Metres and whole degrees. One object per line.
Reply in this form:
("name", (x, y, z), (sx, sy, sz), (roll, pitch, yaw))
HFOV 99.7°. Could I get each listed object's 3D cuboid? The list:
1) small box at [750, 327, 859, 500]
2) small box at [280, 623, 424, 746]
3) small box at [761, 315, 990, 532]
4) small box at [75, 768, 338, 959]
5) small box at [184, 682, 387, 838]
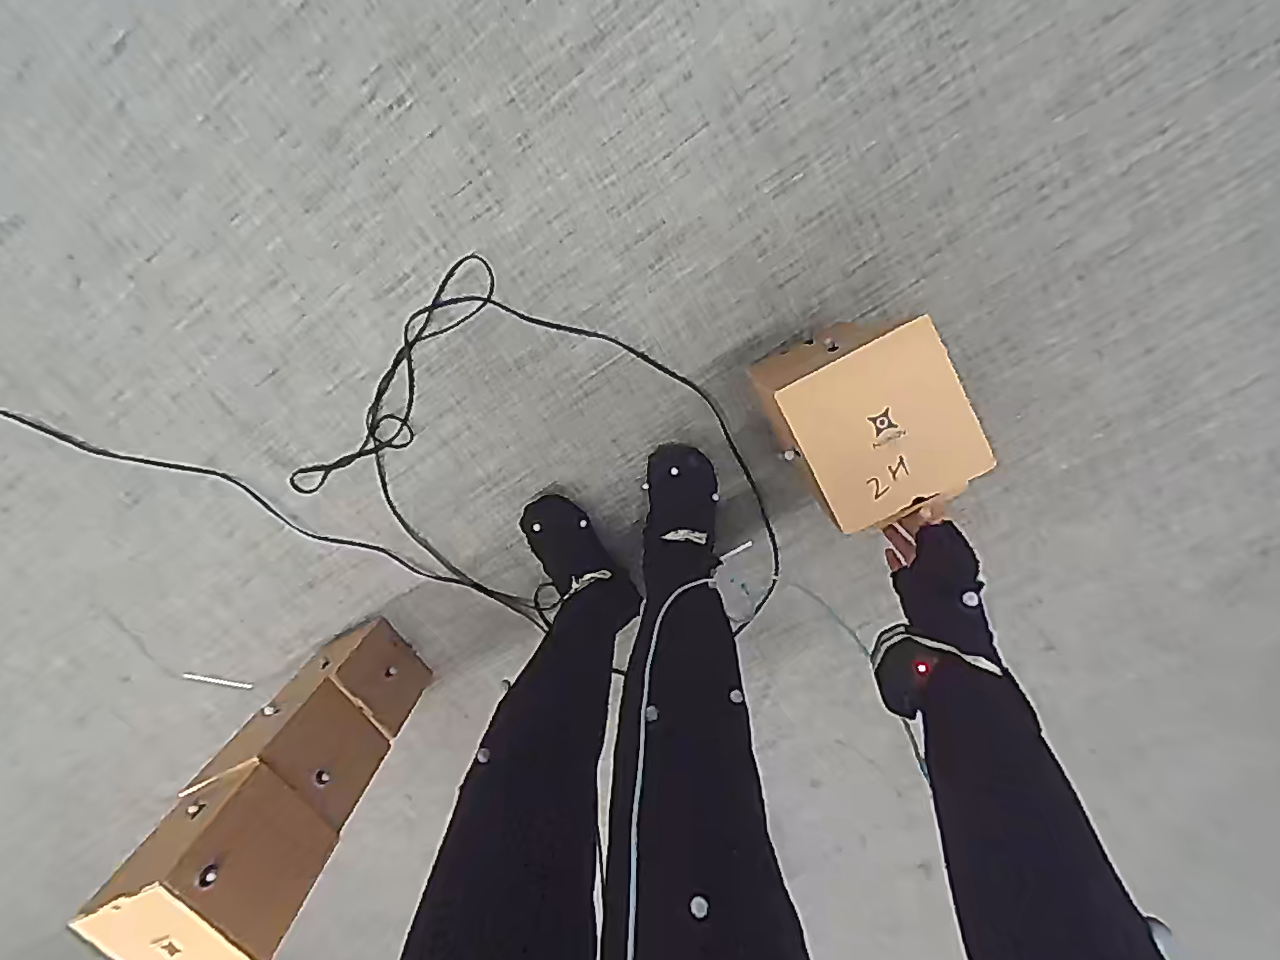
("small box", (0.275, -0.104, 0.785), (0.168, 0.176, 0.179), (-25, 108, 11))
("small box", (-0.538, 0.403, 1.022), (0.179, 0.176, 0.168), (-29, 107, 12))
("small box", (0.255, -0.069, 0.631), (0.168, 0.176, 0.179), (-27, 99, 12))
("small box", (-0.553, 0.530, 0.721), (0.168, 0.176, 0.179), (-28, 106, 13))
("small box", (-0.551, 0.465, 0.870), (0.168, 0.176, 0.179), (-28, 106, 13))
